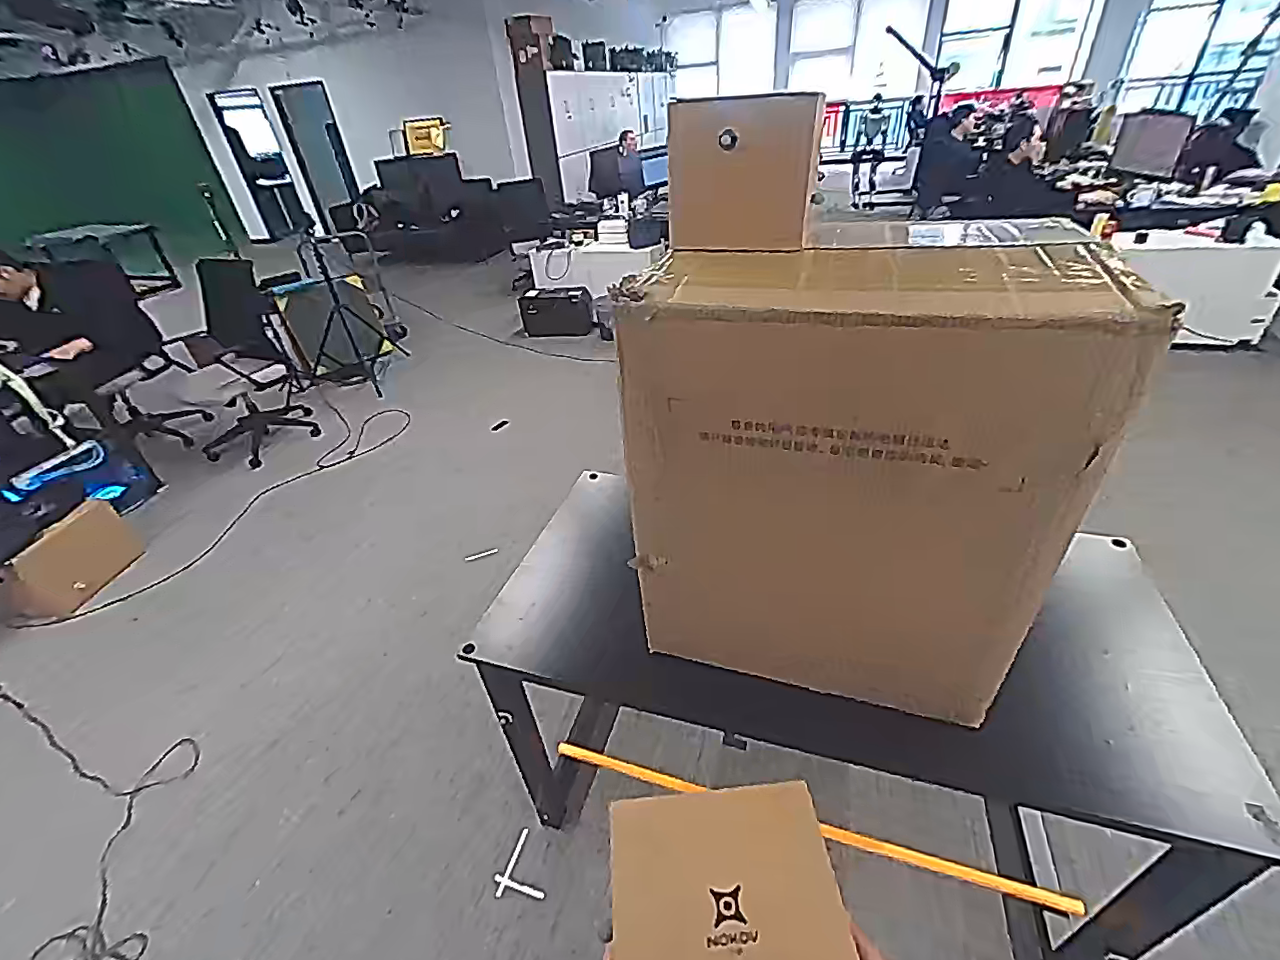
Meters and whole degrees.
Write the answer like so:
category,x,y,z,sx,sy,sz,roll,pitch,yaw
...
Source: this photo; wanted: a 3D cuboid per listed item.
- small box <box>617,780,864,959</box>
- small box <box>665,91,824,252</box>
category,x,y,z,sx,sy,sz,roll,pitch,yaw
small box,0.071,0.371,0.426,0.168,0.176,0.179,-7,37,0
small box,0.141,-0.408,0.724,0.179,0.176,0.168,9,36,17
